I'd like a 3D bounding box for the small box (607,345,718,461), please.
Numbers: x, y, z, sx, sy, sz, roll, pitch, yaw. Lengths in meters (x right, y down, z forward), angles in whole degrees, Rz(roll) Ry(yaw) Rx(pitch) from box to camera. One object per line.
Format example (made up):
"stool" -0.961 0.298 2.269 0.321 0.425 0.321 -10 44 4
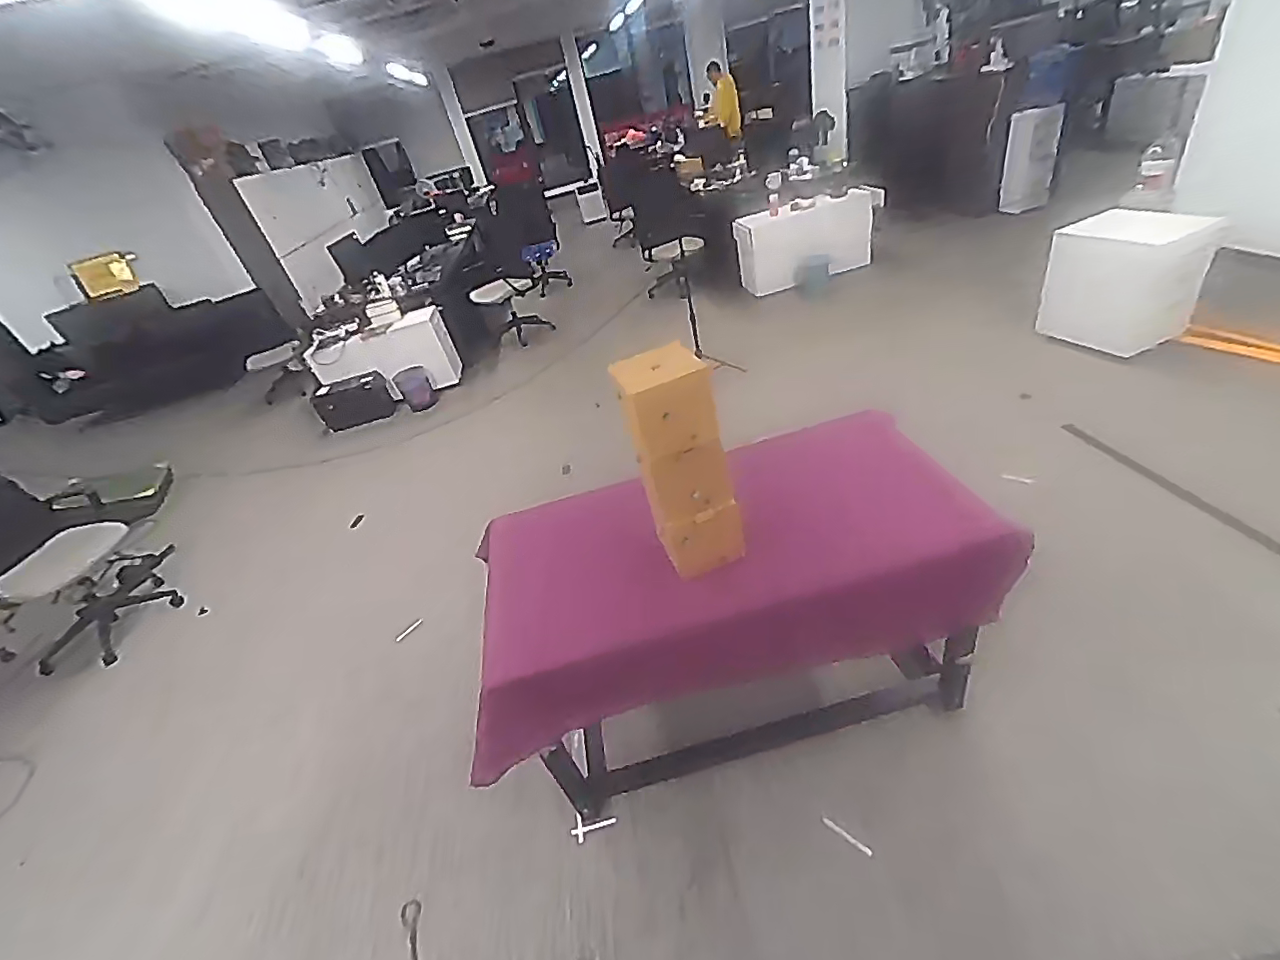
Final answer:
"small box" 0.049 -0.158 1.135 0.168 0.176 0.179 -22 33 -8

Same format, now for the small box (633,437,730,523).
"small box" 0.089 -0.031 1.229 0.168 0.176 0.179 -21 34 -5
